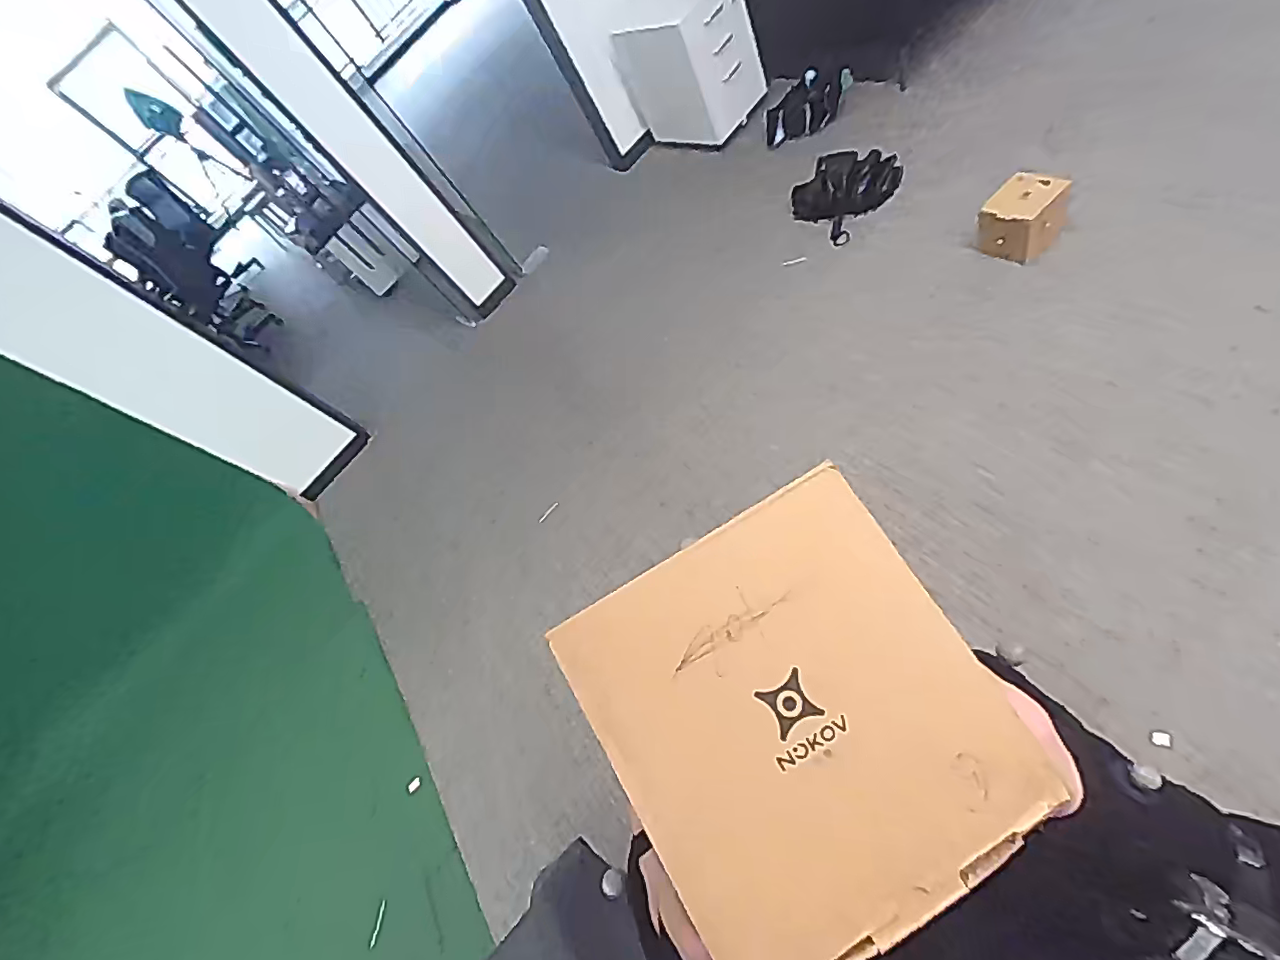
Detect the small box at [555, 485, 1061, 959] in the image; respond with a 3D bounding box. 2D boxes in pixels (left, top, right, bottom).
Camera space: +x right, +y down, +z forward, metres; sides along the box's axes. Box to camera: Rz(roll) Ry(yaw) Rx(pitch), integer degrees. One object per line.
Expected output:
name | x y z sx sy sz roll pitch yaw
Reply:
small box | 0.075 0.132 0.323 0.168 0.176 0.179 -30 74 -6
